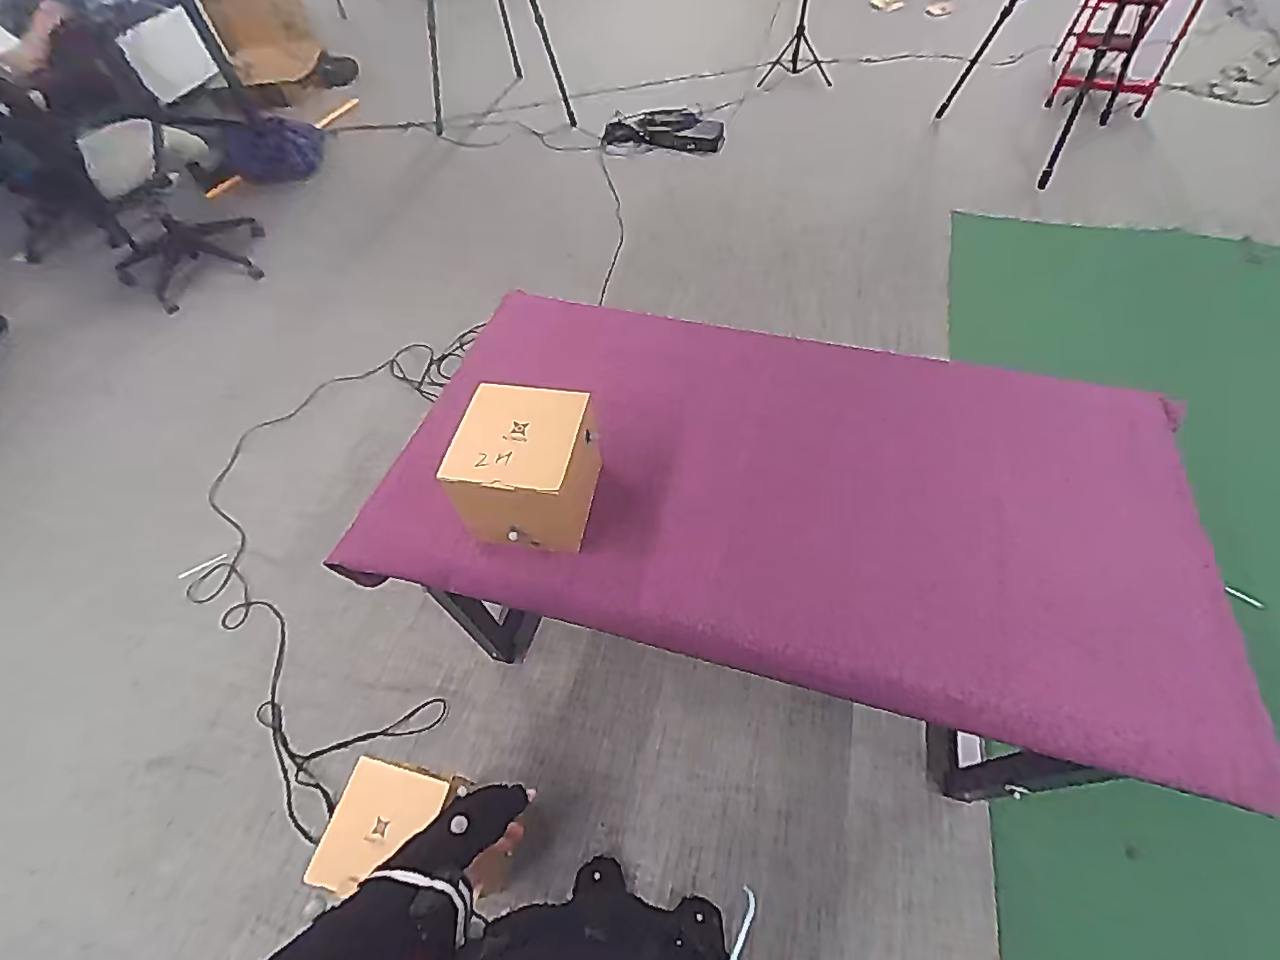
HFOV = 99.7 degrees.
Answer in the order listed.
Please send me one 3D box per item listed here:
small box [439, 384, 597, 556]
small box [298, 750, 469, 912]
[{"bbox_3d":[-0.163,-0.013,0.795,0.168,0.176,0.179,8,55,7],"label":"small box"},{"bbox_3d":[-0.405,0.572,0.895,0.168,0.176,0.179,12,60,11],"label":"small box"}]
